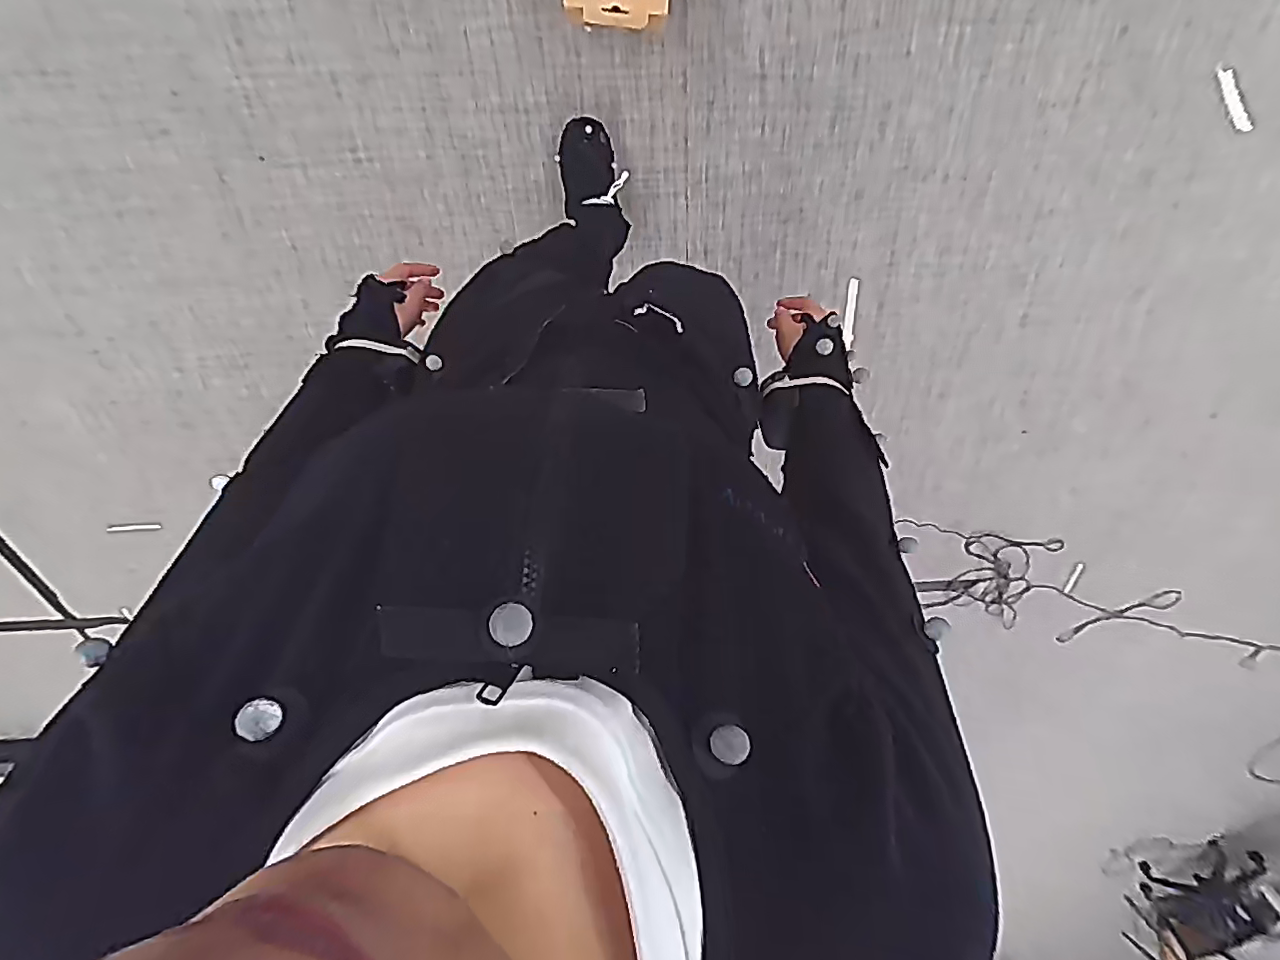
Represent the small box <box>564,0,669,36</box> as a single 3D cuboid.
[{"bbox_3d":[-0.030,-0.840,0.869,0.168,0.176,0.179,3,123,-4],"label":"small box"}]
